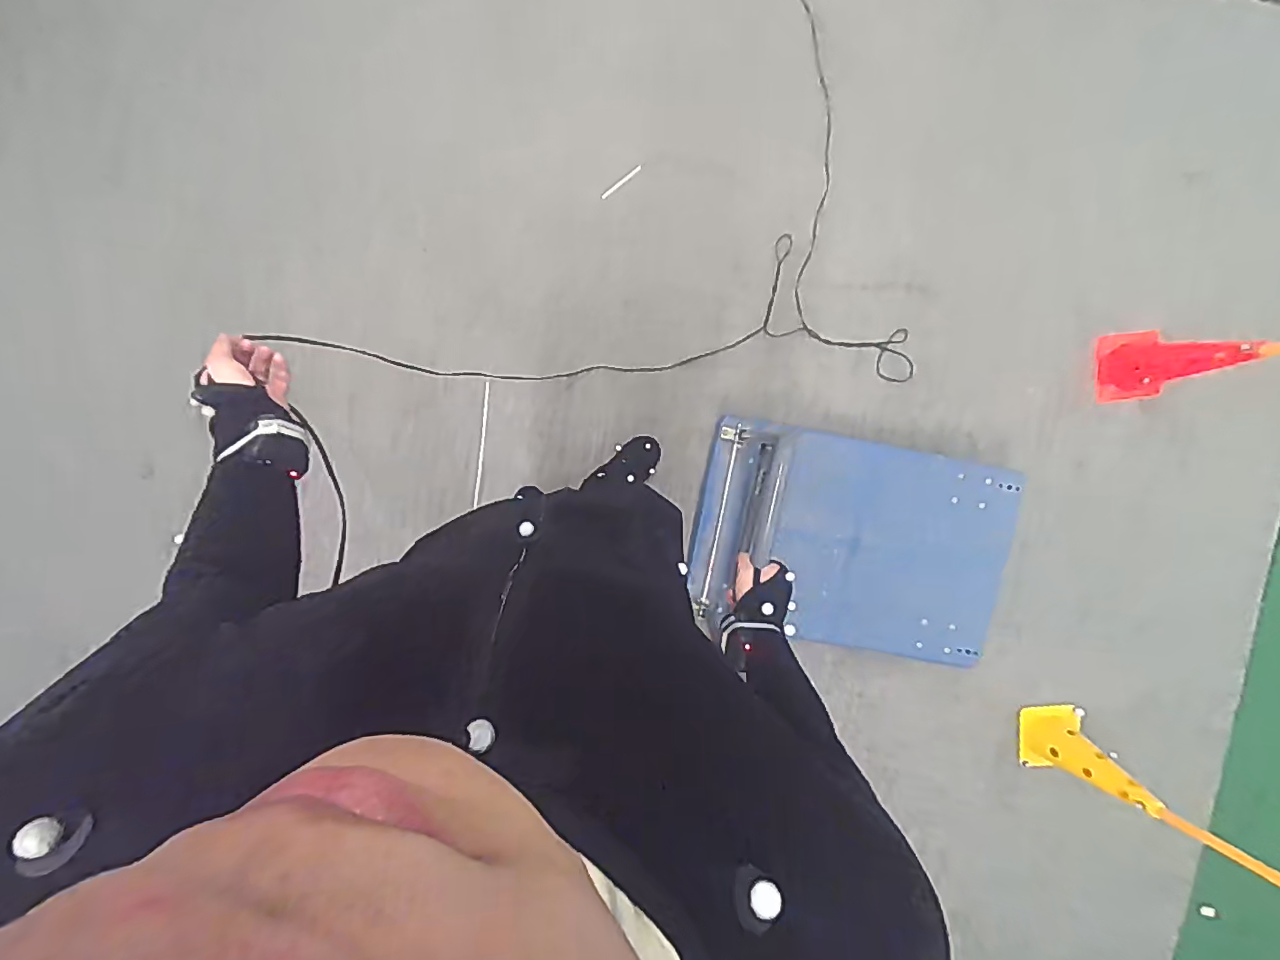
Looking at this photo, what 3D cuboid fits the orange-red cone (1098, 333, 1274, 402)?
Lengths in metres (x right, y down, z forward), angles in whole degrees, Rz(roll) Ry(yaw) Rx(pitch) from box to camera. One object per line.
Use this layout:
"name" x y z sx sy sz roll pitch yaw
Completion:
"orange-red cone" 1.495 -0.330 1.471 0.198 0.360 0.199 -7 94 -2
